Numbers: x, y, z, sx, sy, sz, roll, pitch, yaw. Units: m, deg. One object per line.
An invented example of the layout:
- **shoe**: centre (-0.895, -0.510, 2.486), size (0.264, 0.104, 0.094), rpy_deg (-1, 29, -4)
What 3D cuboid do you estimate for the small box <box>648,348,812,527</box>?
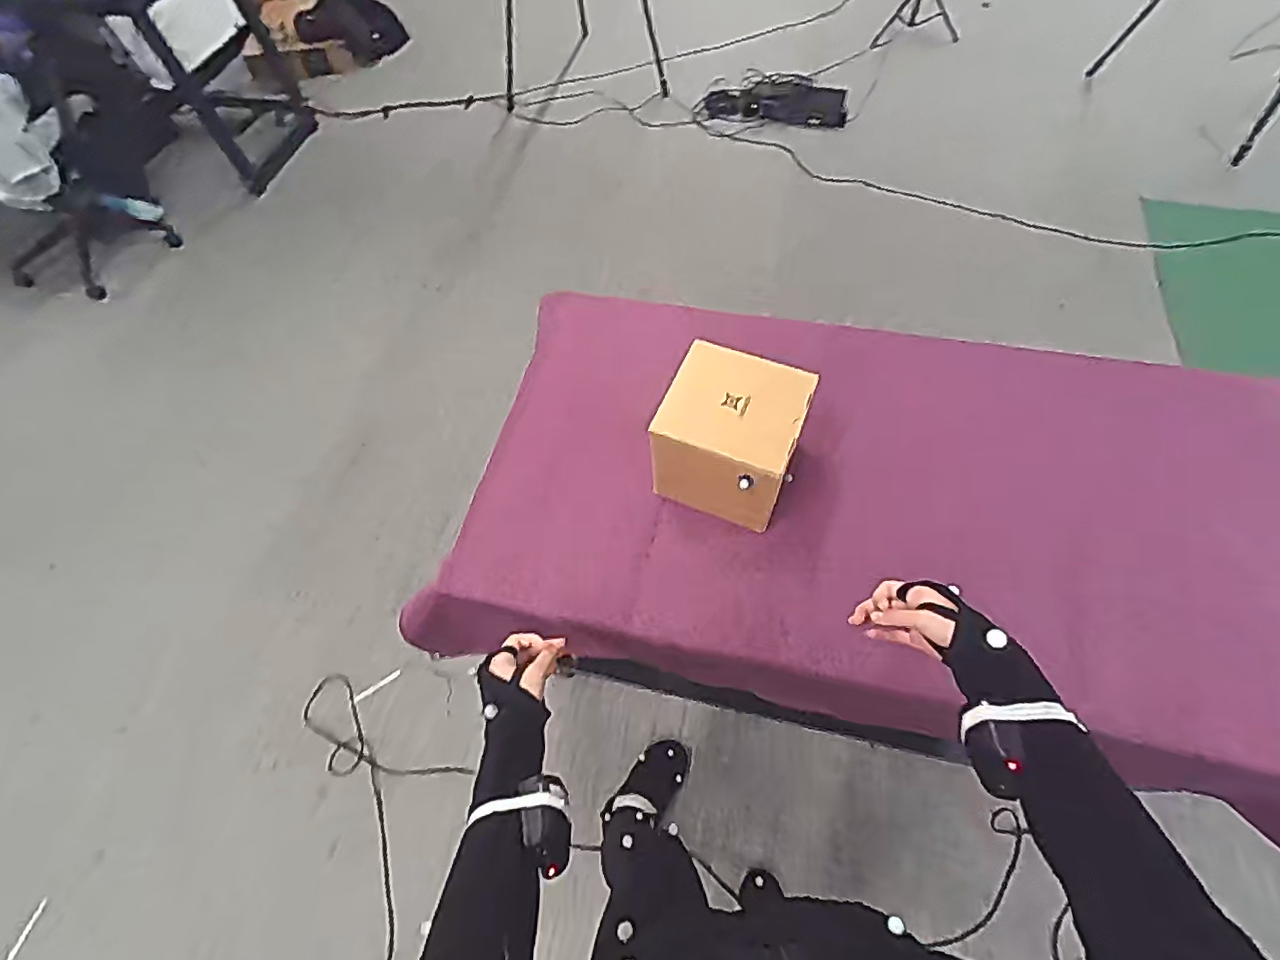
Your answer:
- **small box**: centre (0.124, -0.055, 0.775), size (0.179, 0.176, 0.168), rpy_deg (19, 62, 13)
